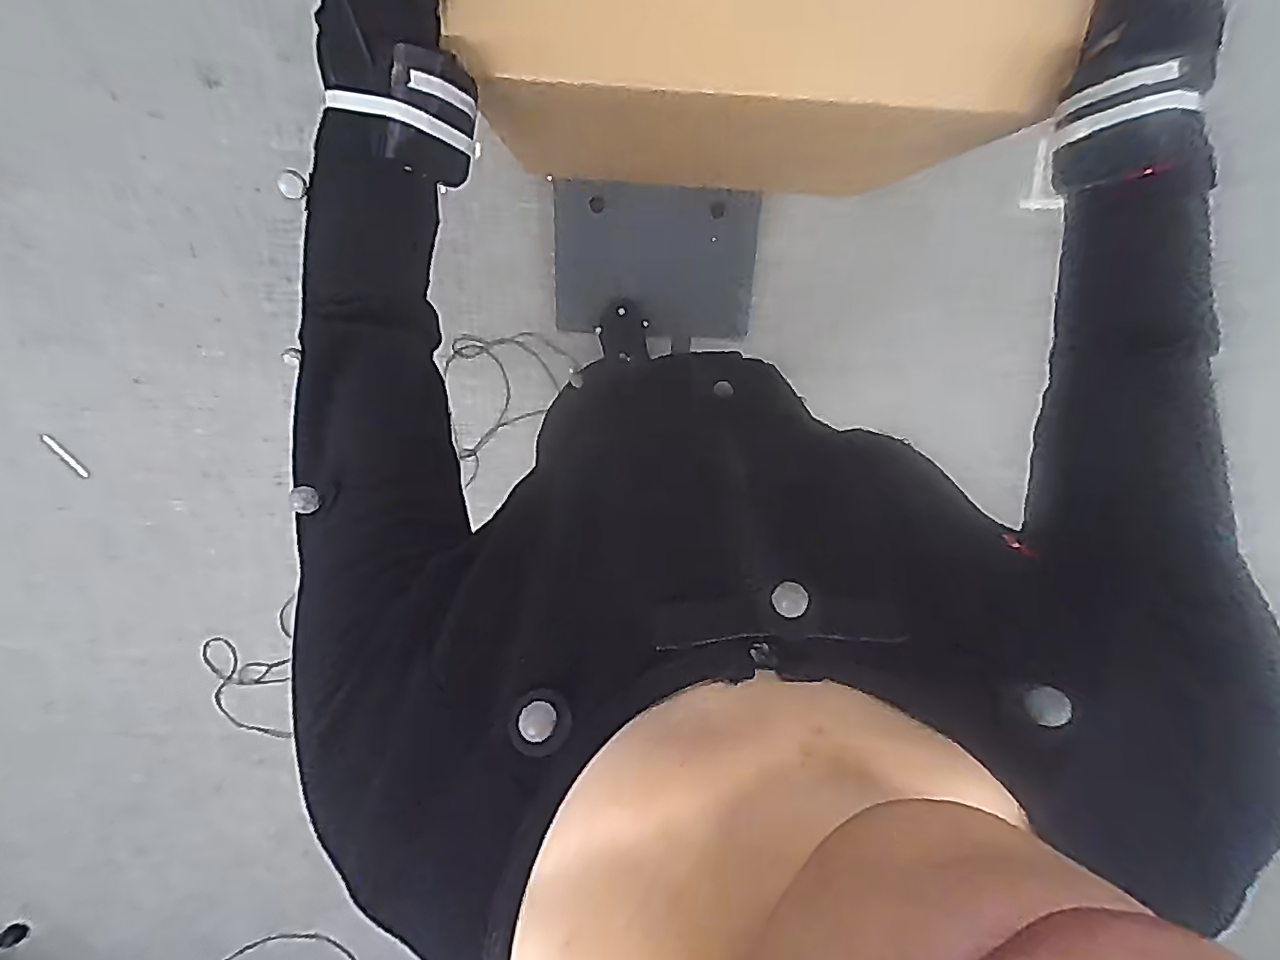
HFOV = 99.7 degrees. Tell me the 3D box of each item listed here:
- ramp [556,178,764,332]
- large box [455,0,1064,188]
[{"bbox_3d":[0.054,-0.845,1.206,0.509,0.206,0.991,-1,103,-3],"label":"ramp"},{"bbox_3d":[0.076,-0.453,0.457,0.408,0.320,0.320,1,109,-3],"label":"large box"}]
